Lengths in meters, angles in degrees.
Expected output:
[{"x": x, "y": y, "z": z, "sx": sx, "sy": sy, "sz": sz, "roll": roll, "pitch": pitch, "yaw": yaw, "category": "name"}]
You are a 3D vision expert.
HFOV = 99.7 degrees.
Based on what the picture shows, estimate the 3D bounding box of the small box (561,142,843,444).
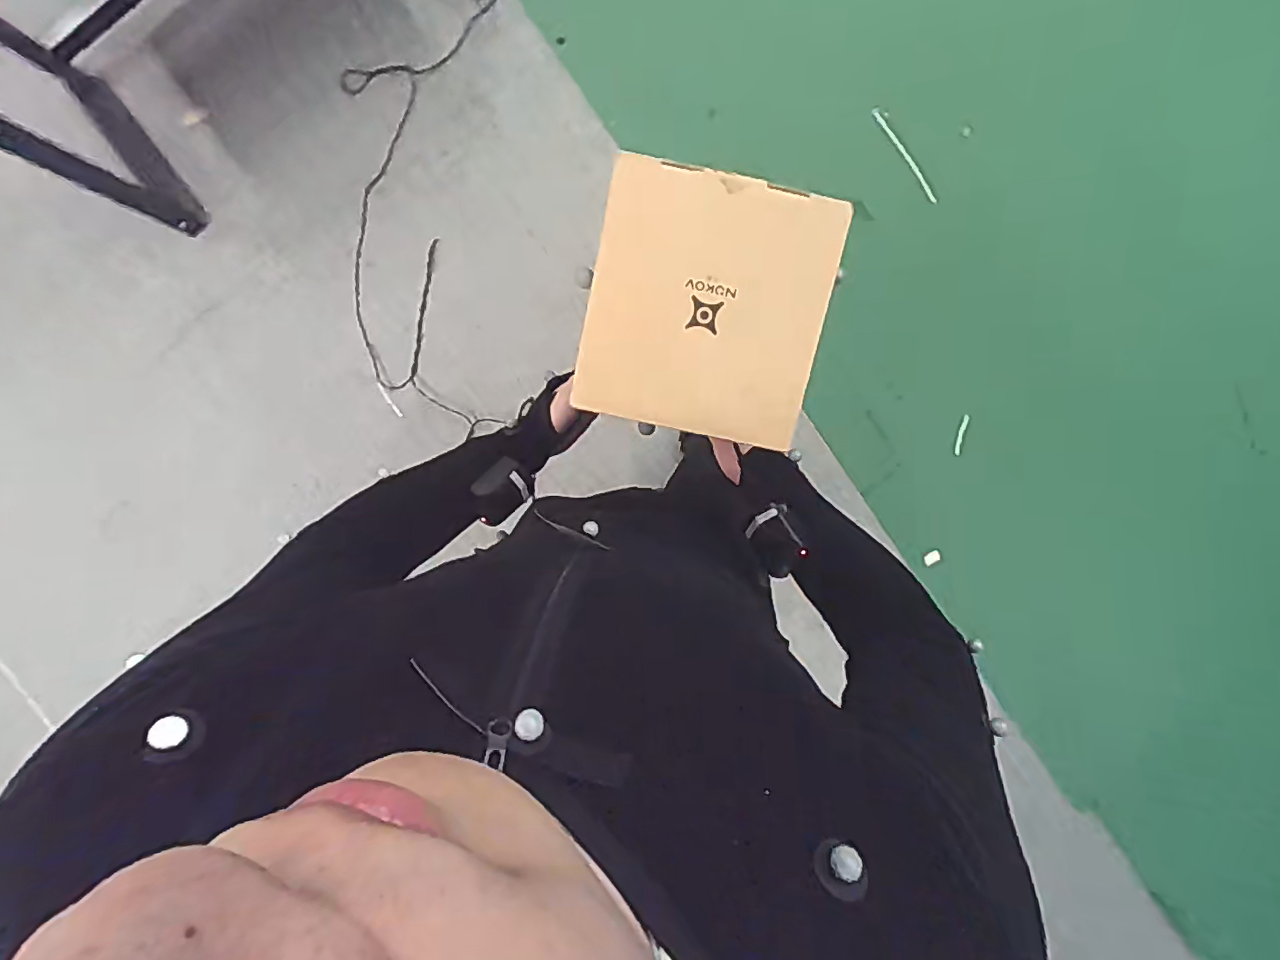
[{"x": 0.042, "y": -0.138, "z": 0.451, "sx": 0.168, "sy": 0.176, "sz": 0.179, "roll": 11, "pitch": 99, "yaw": -1, "category": "small box"}]
